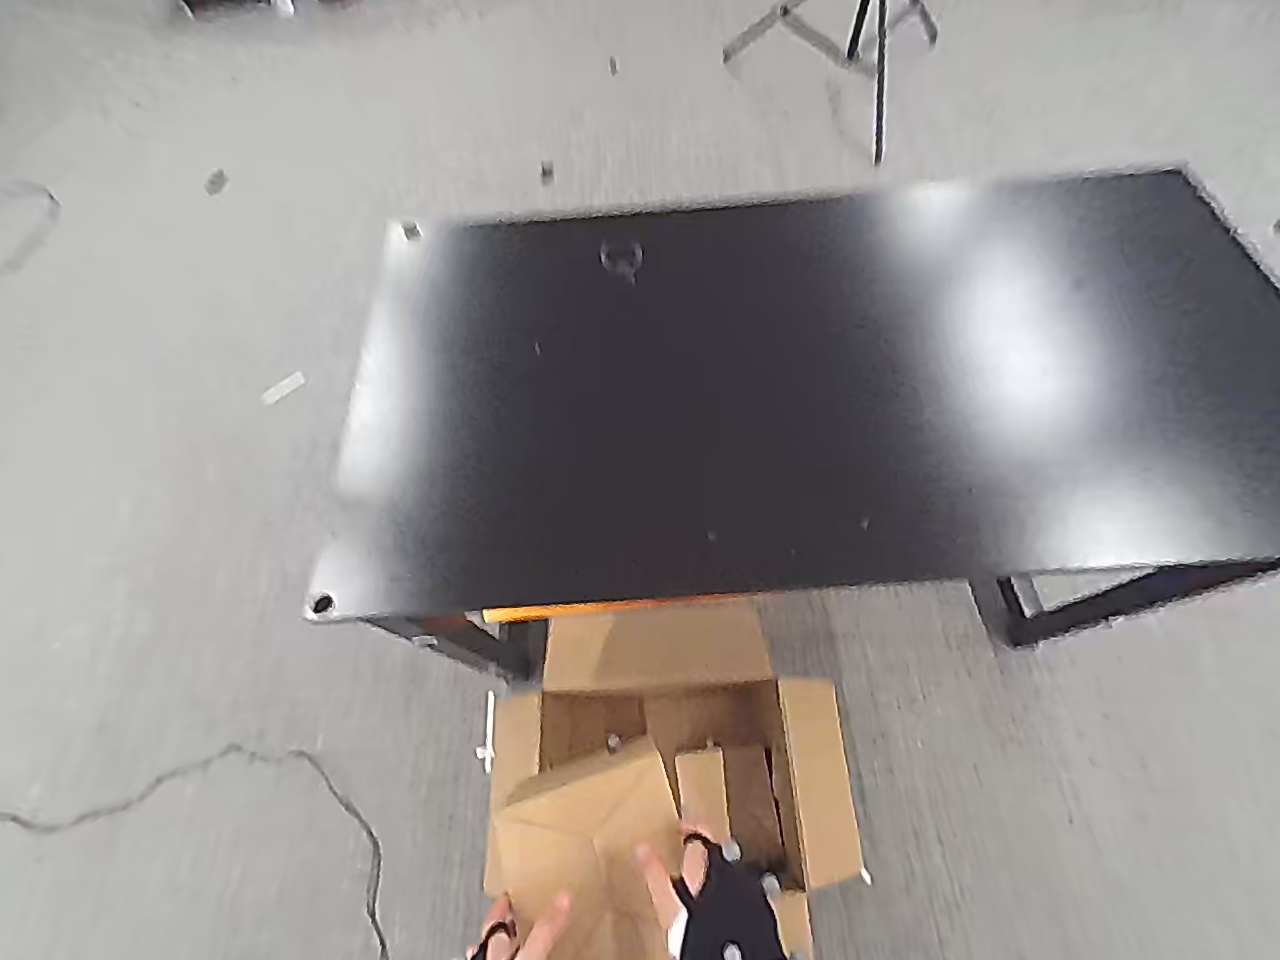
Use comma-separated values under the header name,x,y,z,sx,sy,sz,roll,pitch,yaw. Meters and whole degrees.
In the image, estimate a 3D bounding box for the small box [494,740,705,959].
name,x,y,z,sx,sy,sz,roll,pitch,yaw
small box,-0.041,0.404,0.586,0.179,0.176,0.168,-16,71,-8
